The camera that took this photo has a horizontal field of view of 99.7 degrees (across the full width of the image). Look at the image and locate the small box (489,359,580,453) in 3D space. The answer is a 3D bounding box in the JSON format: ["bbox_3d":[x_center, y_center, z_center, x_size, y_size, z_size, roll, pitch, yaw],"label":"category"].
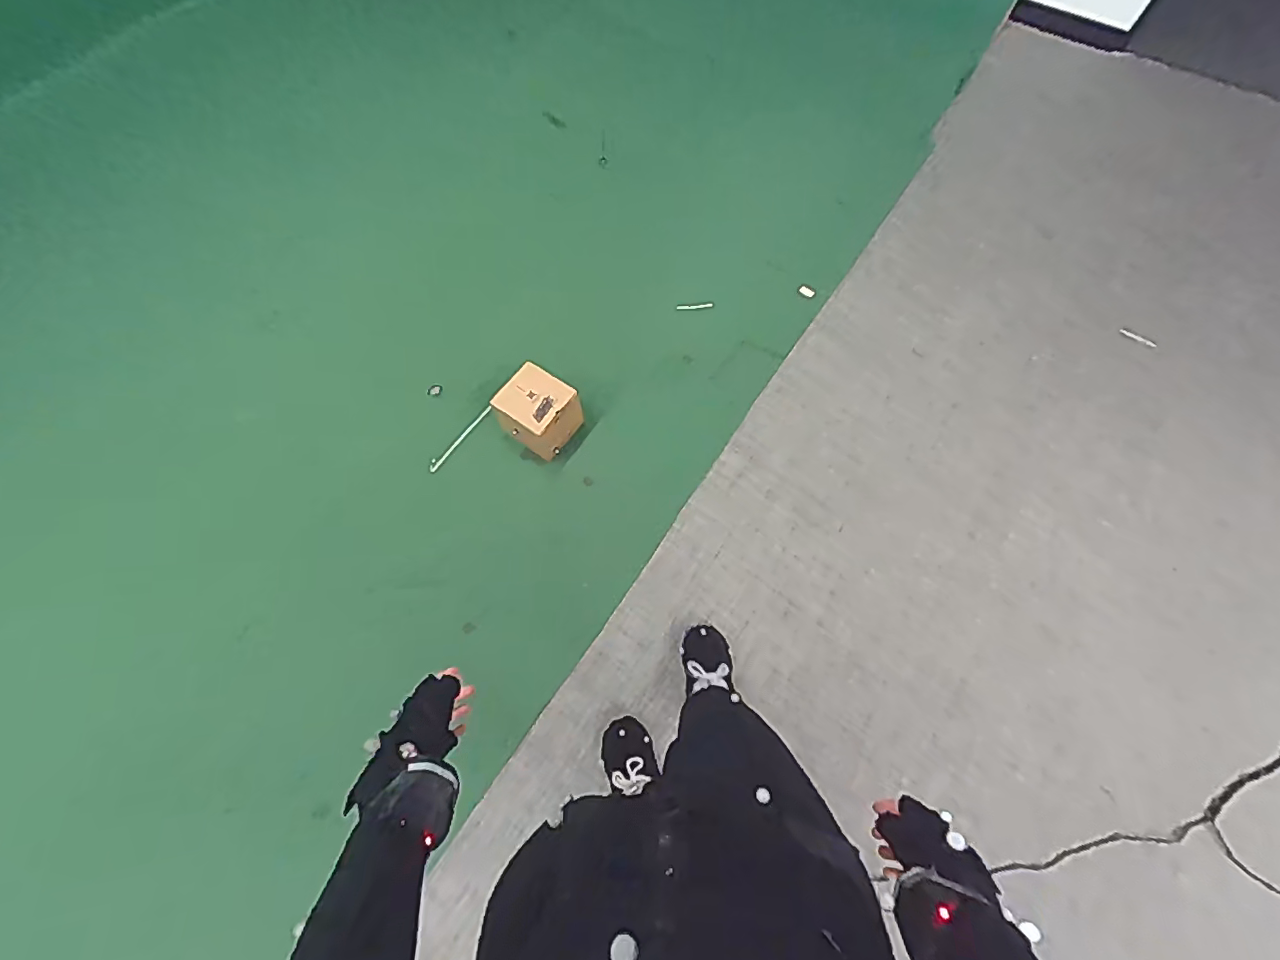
[{"bbox_3d":[-0.285,-0.199,1.515,0.179,0.176,0.168,33,71,13],"label":"small box"}]
